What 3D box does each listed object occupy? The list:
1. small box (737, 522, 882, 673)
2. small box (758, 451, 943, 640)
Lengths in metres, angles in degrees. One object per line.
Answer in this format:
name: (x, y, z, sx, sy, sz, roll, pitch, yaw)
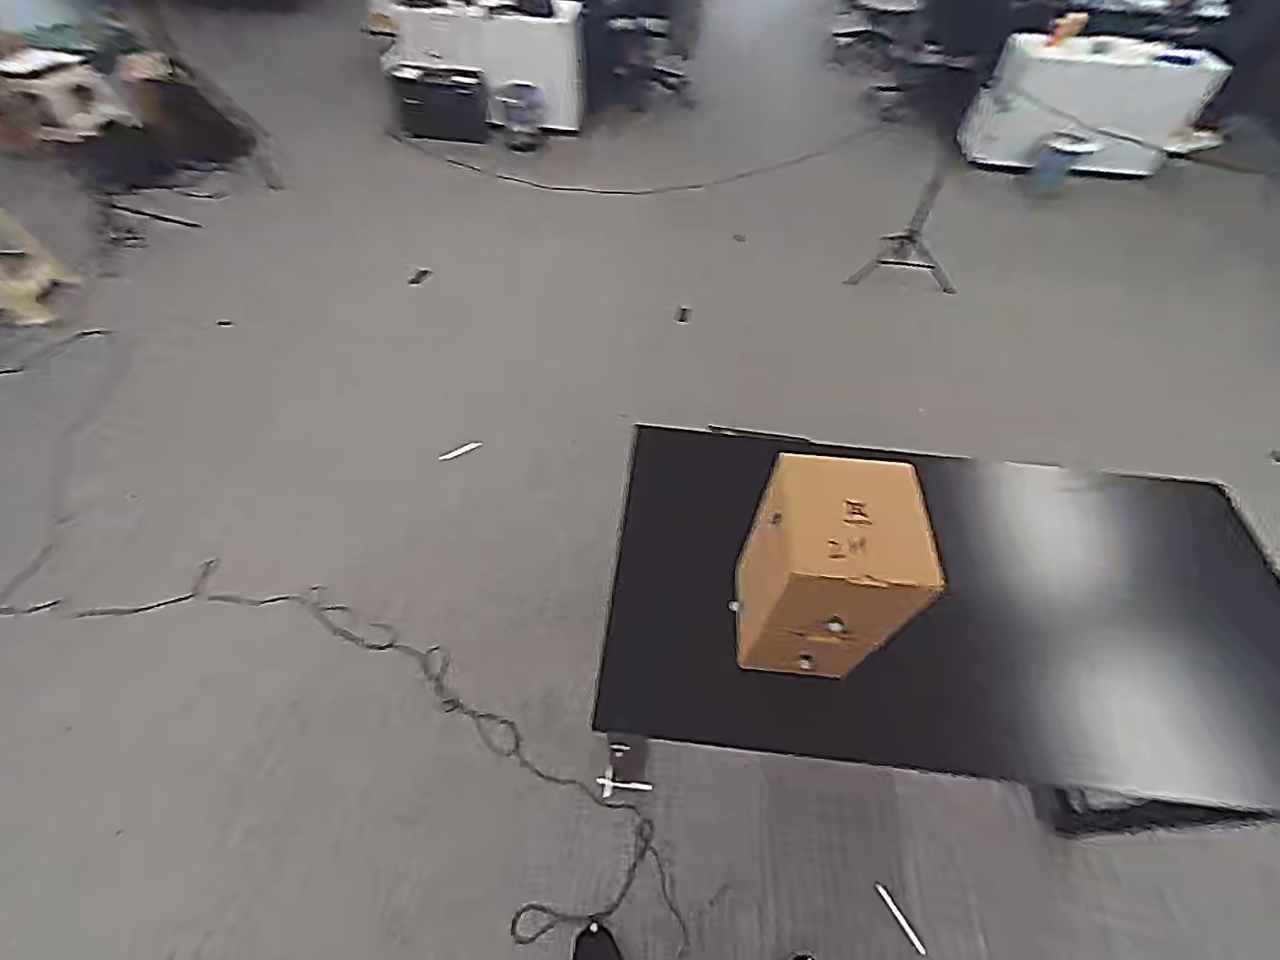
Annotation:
small box: (0.246, 0.186, 0.831, 0.168, 0.176, 0.179, 4, 54, 1)
small box: (0.251, 0.087, 0.698, 0.168, 0.176, 0.179, 4, 54, 2)
